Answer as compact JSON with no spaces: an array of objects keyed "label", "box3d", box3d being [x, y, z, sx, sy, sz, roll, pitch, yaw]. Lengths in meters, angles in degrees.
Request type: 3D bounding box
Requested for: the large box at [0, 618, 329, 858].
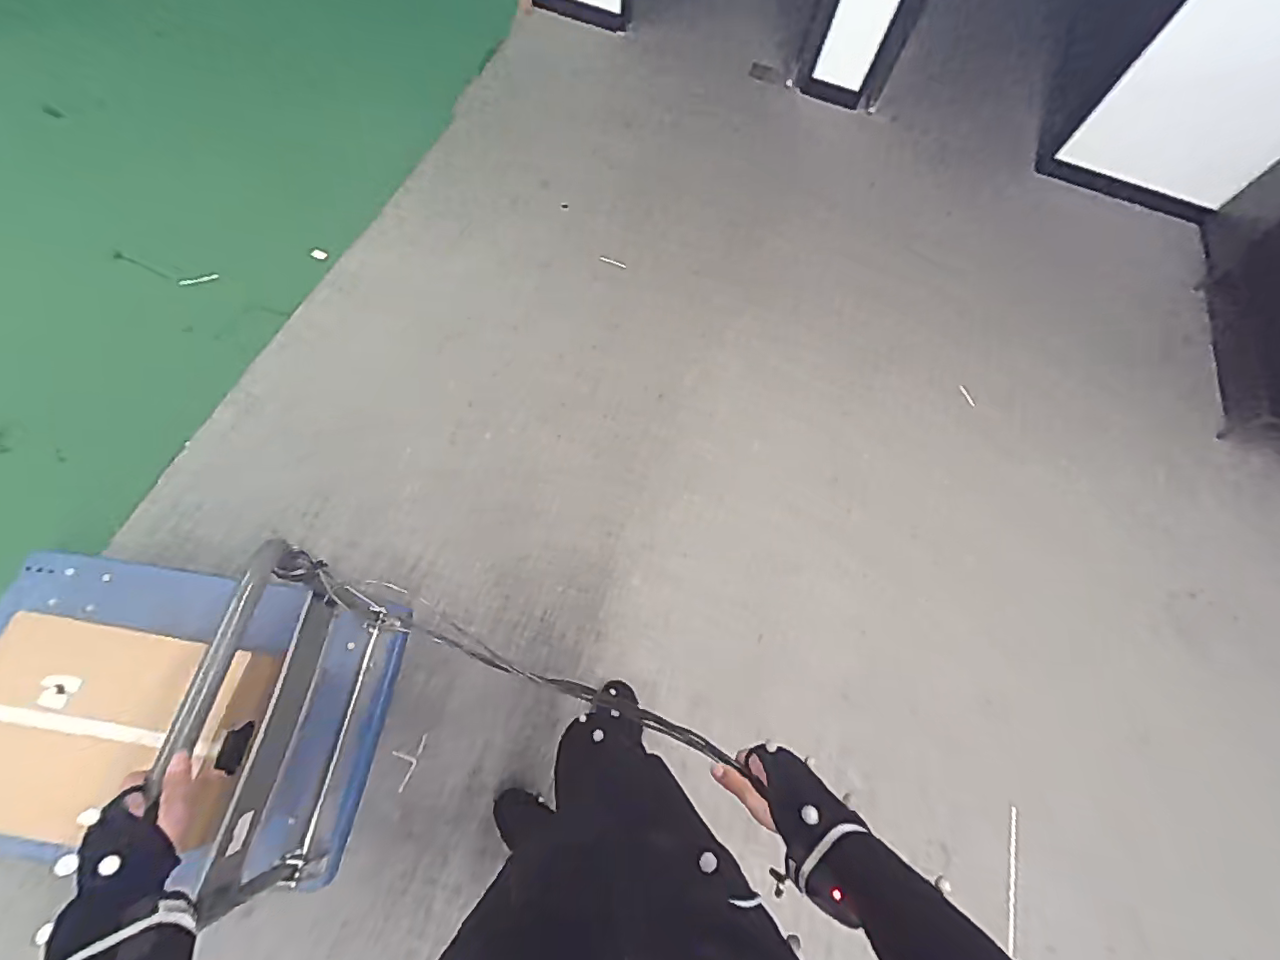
[{"label":"large box","box3d":[-0.901,0.470,1.026,0.408,0.320,0.320,11,65,-2]}]
